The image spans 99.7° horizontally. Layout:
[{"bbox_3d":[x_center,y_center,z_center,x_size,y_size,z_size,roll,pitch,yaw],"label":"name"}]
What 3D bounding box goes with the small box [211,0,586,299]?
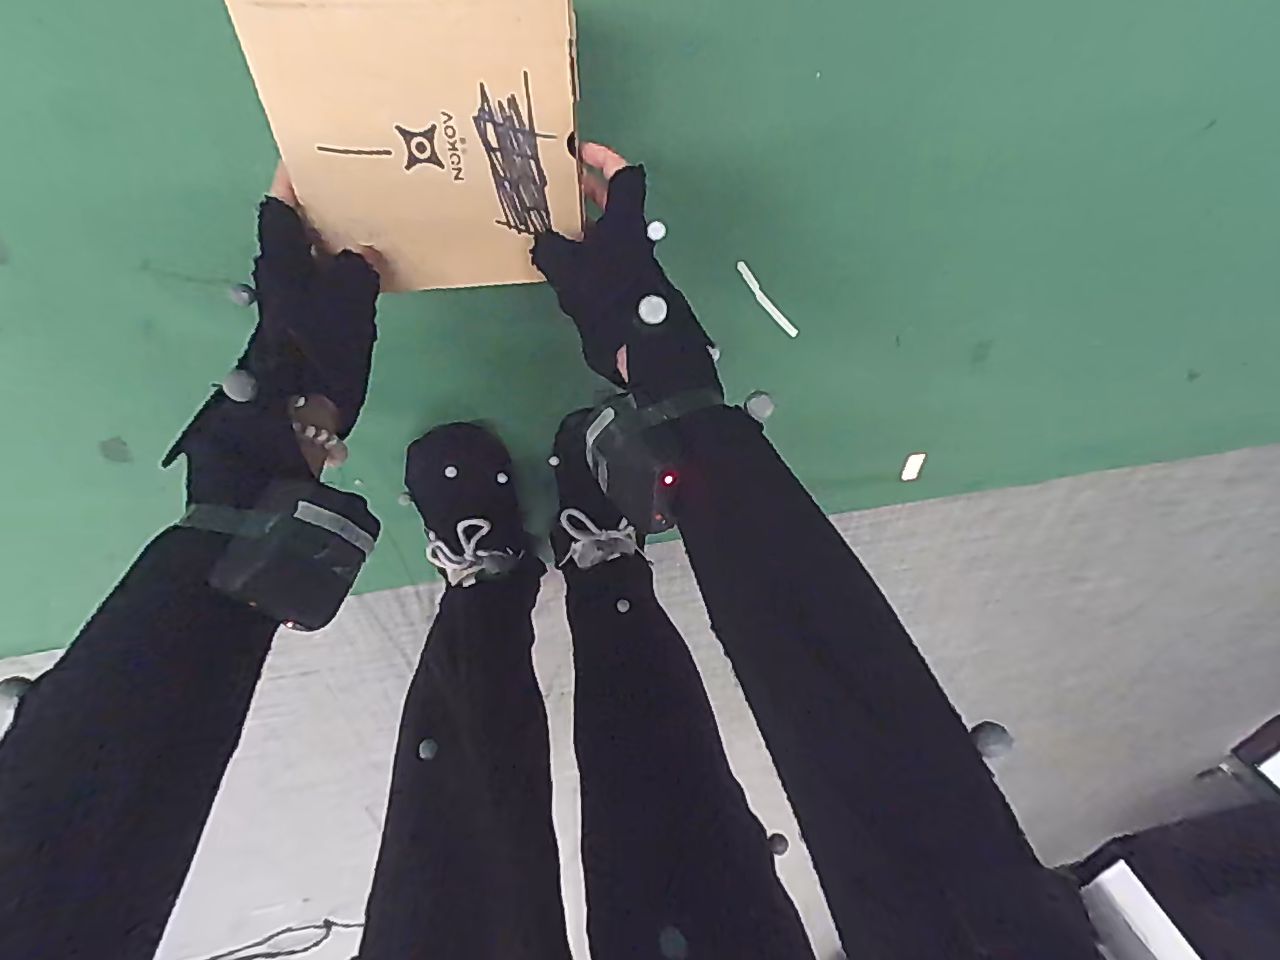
[{"bbox_3d":[-0.138,-0.239,0.374,0.179,0.176,0.168,-7,128,-9],"label":"small box"}]
